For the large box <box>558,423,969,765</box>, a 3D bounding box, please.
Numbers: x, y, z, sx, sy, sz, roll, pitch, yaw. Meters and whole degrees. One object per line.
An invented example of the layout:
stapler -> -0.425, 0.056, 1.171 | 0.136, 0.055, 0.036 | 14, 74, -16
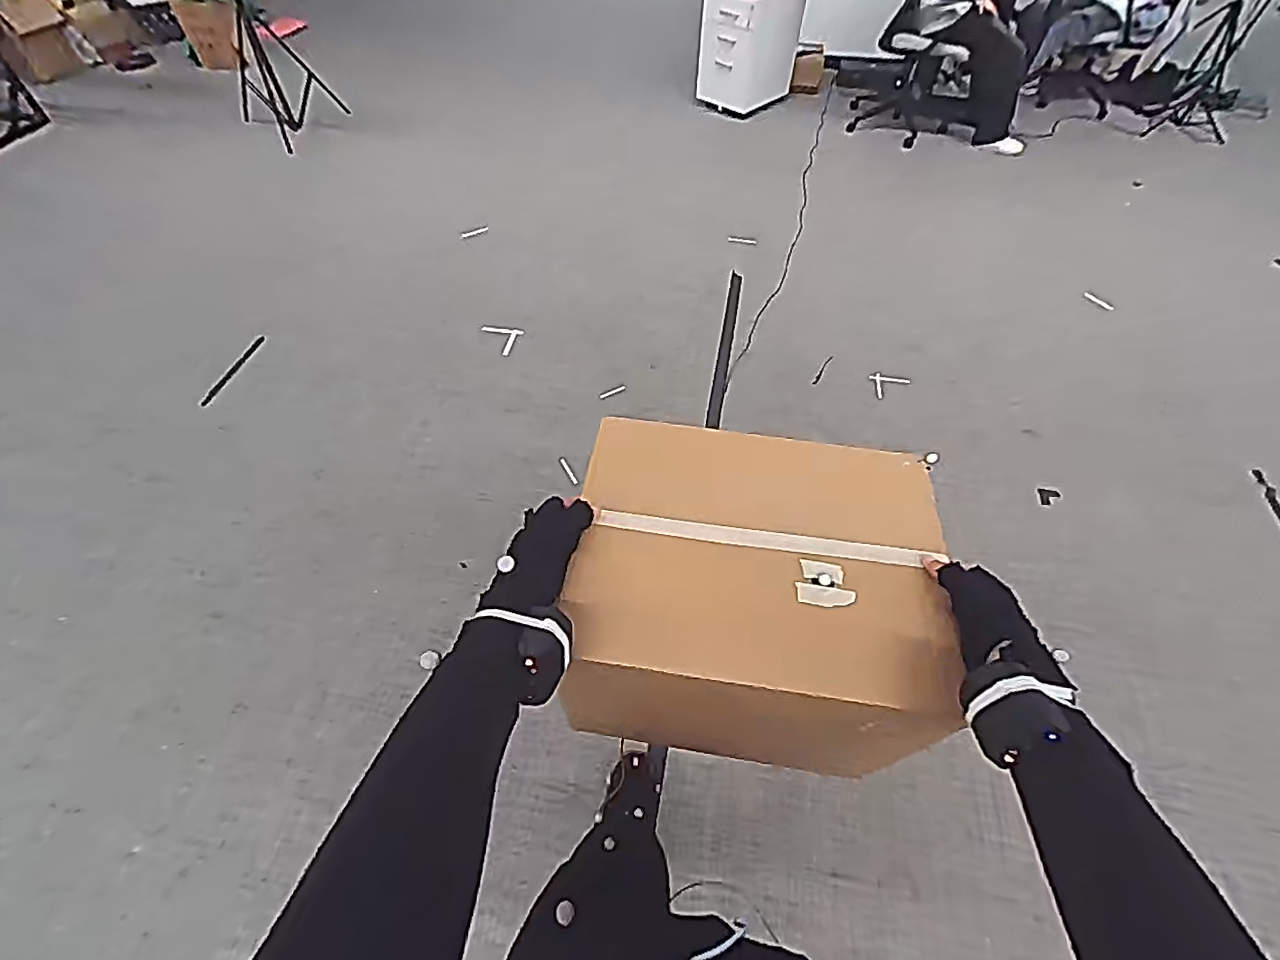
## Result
large box -> 0.129, 0.158, 0.723 | 0.408, 0.320, 0.320 | 8, 54, 4
